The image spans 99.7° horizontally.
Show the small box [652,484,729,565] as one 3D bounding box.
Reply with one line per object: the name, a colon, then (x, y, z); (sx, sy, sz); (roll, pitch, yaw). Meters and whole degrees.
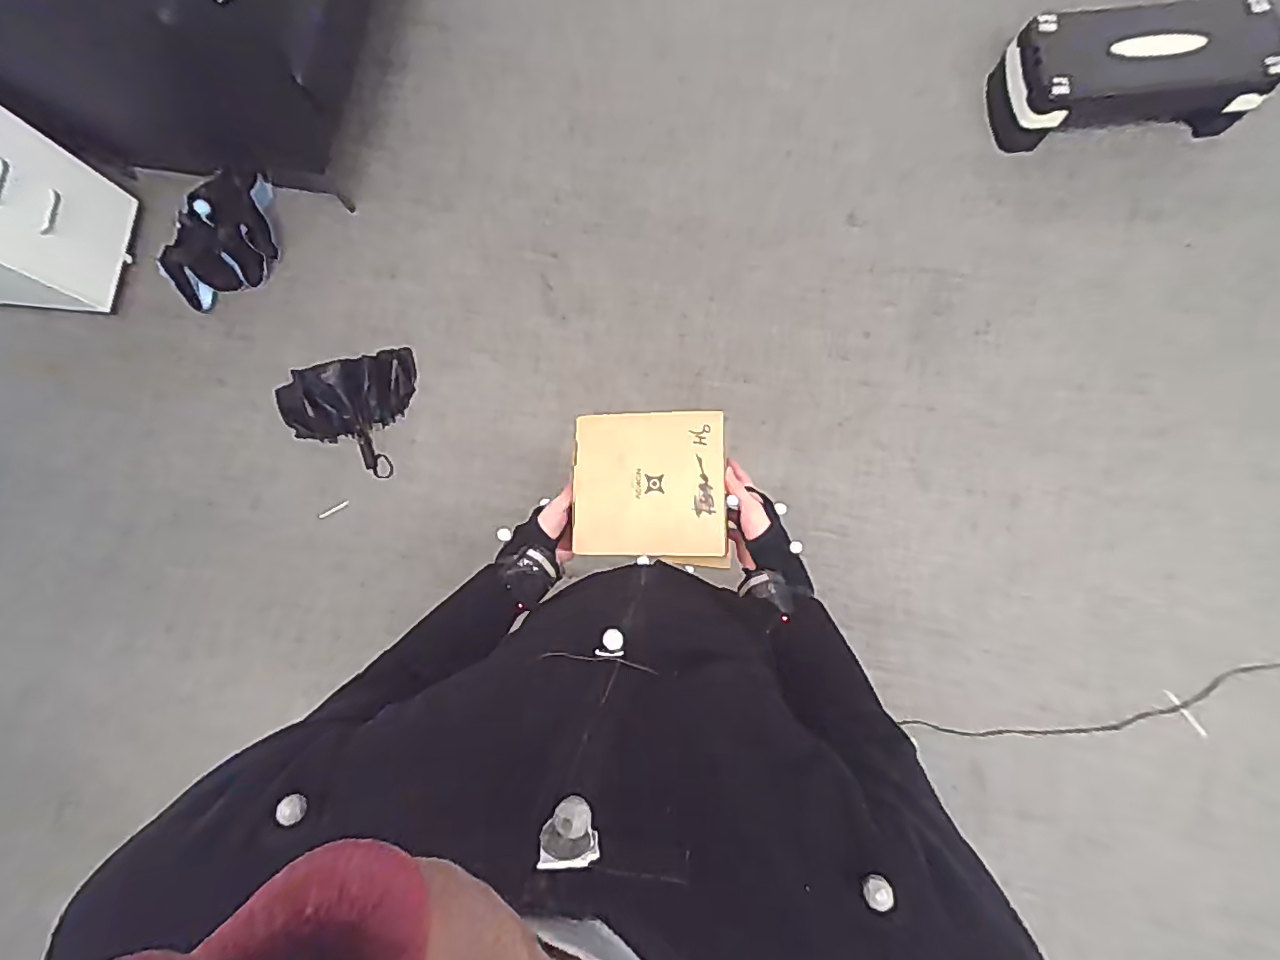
small box: (0.122, 0.114, 1.338); (0.168, 0.176, 0.179); (6, 82, 5)
